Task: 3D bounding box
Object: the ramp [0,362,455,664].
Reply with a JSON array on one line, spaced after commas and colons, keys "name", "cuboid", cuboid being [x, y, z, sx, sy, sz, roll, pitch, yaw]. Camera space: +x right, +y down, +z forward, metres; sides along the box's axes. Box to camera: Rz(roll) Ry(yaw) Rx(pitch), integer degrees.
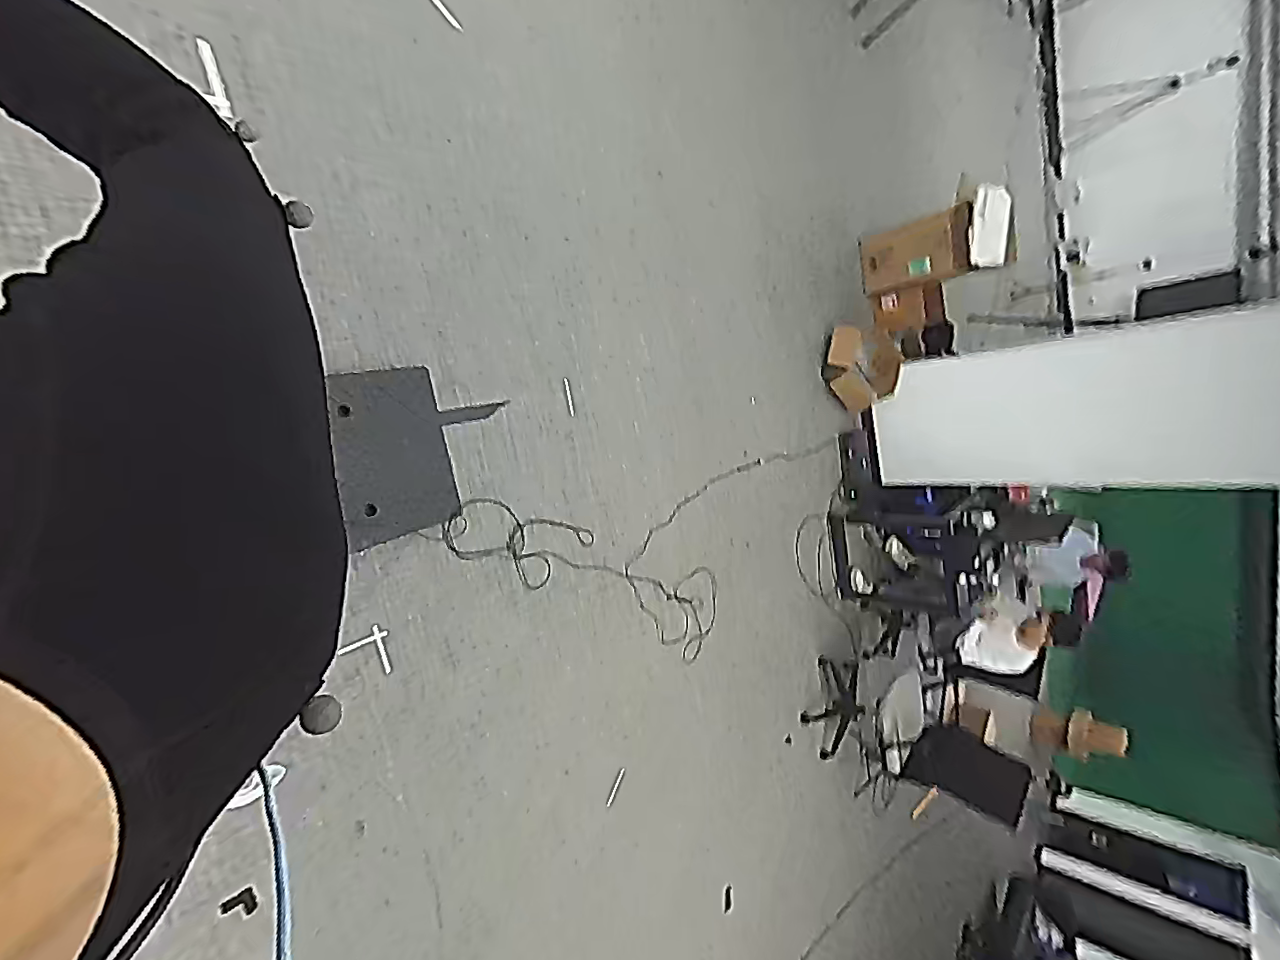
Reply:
[{"name": "ramp", "cuboid": [-0.933, -0.017, 1.340, 0.991, 0.206, 0.509, -22, 104, -42]}]
